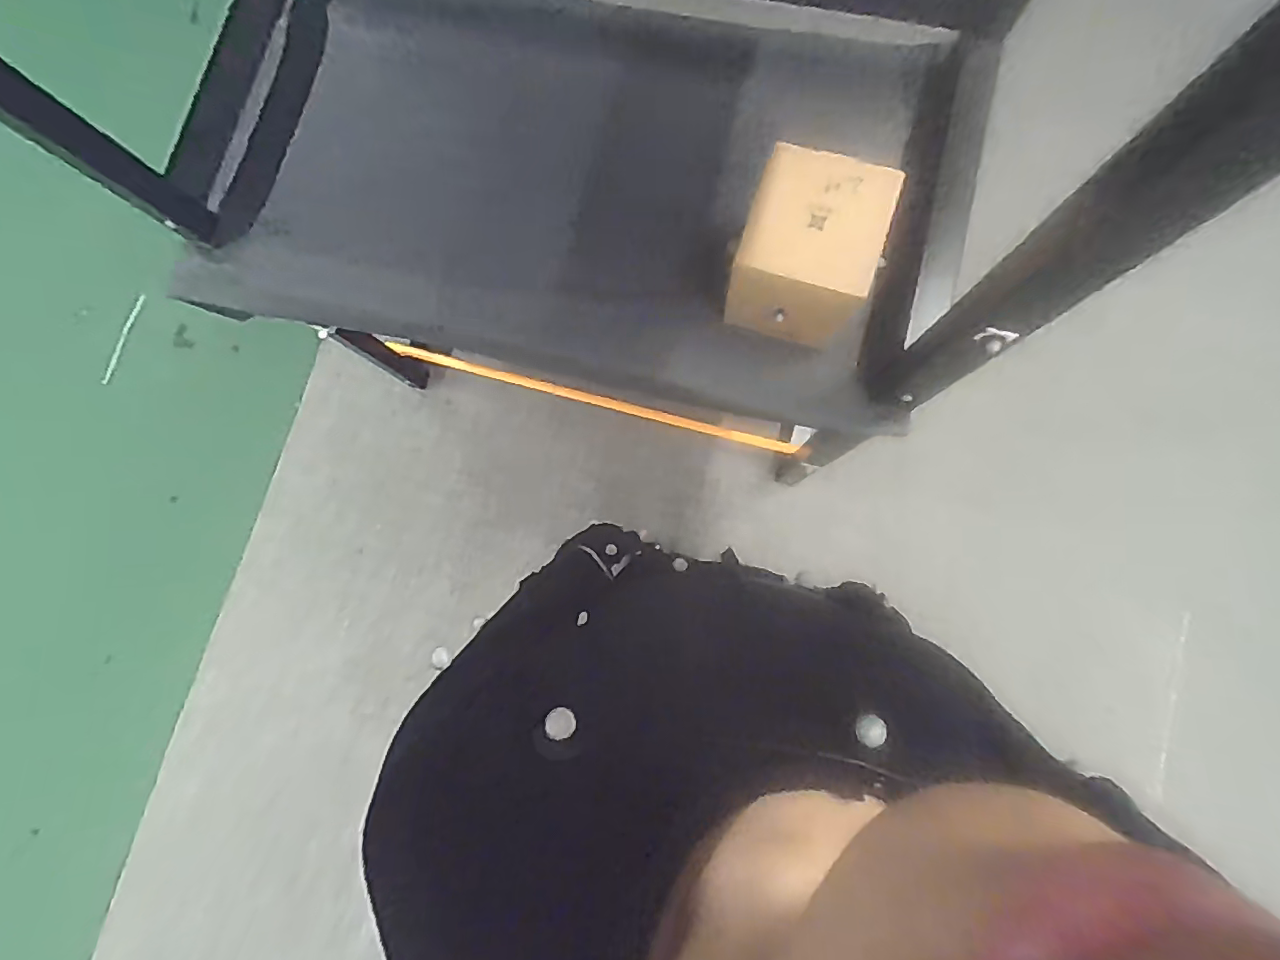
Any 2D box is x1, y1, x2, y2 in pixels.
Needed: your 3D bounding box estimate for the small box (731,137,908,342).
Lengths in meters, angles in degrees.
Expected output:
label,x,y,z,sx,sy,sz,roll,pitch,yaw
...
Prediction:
label,x,y,z,sx,sy,sz,roll,pitch,yaw
small box,0.229,-0.312,0.736,0.168,0.176,0.179,19,84,6
